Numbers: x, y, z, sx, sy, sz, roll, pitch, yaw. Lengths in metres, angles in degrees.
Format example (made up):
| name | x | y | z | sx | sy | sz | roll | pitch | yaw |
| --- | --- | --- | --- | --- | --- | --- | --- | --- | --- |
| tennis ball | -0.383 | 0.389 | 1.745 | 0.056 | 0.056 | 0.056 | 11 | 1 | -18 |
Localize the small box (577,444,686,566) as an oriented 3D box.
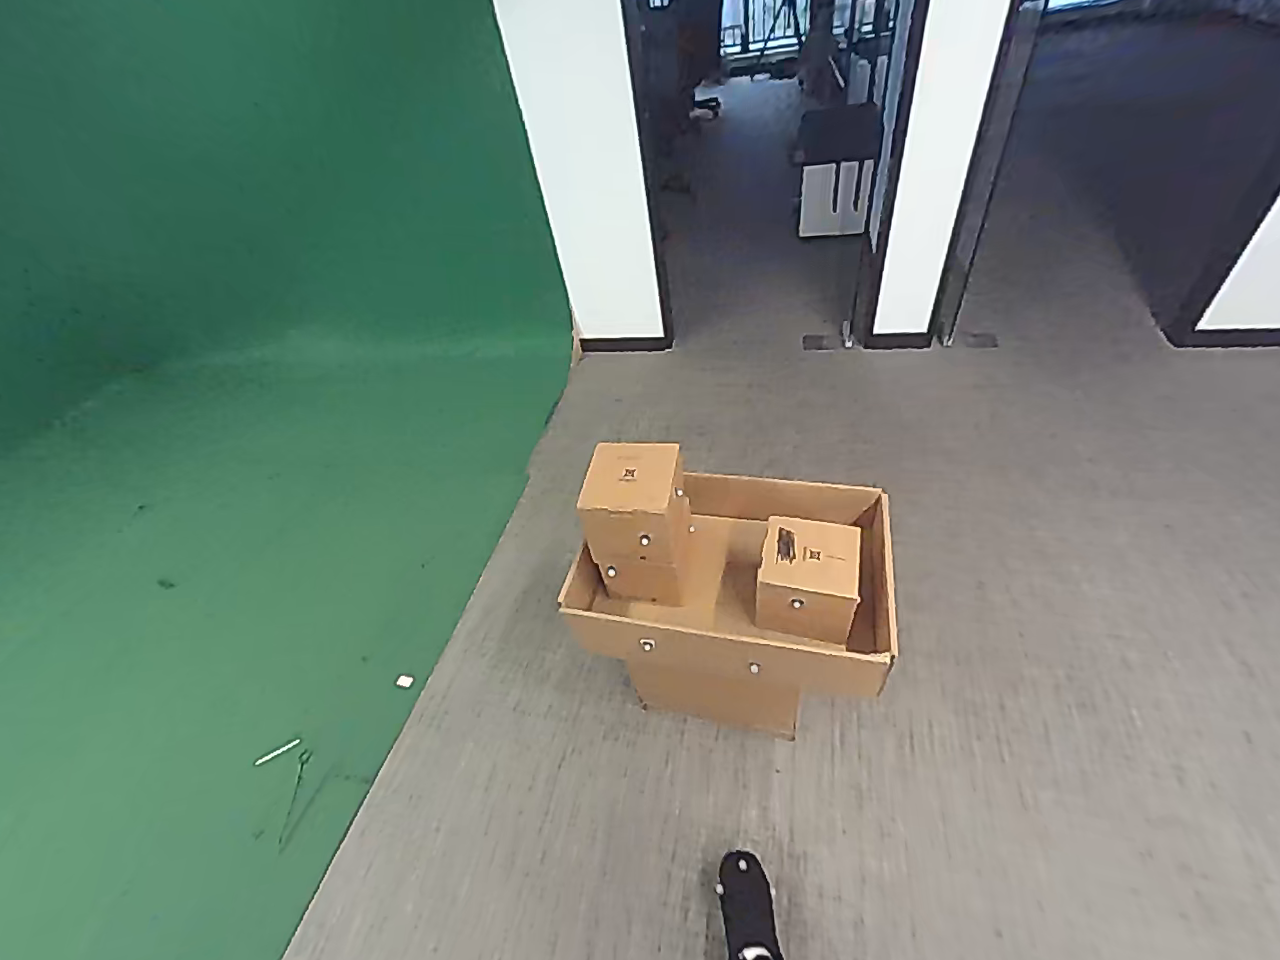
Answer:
| name | x | y | z | sx | sy | sz | roll | pitch | yaw |
| --- | --- | --- | --- | --- | --- | --- | --- | --- | --- |
| small box | -0.006 | 0.049 | 1.049 | 0.168 | 0.176 | 0.179 | 2 | 46 | 13 |
